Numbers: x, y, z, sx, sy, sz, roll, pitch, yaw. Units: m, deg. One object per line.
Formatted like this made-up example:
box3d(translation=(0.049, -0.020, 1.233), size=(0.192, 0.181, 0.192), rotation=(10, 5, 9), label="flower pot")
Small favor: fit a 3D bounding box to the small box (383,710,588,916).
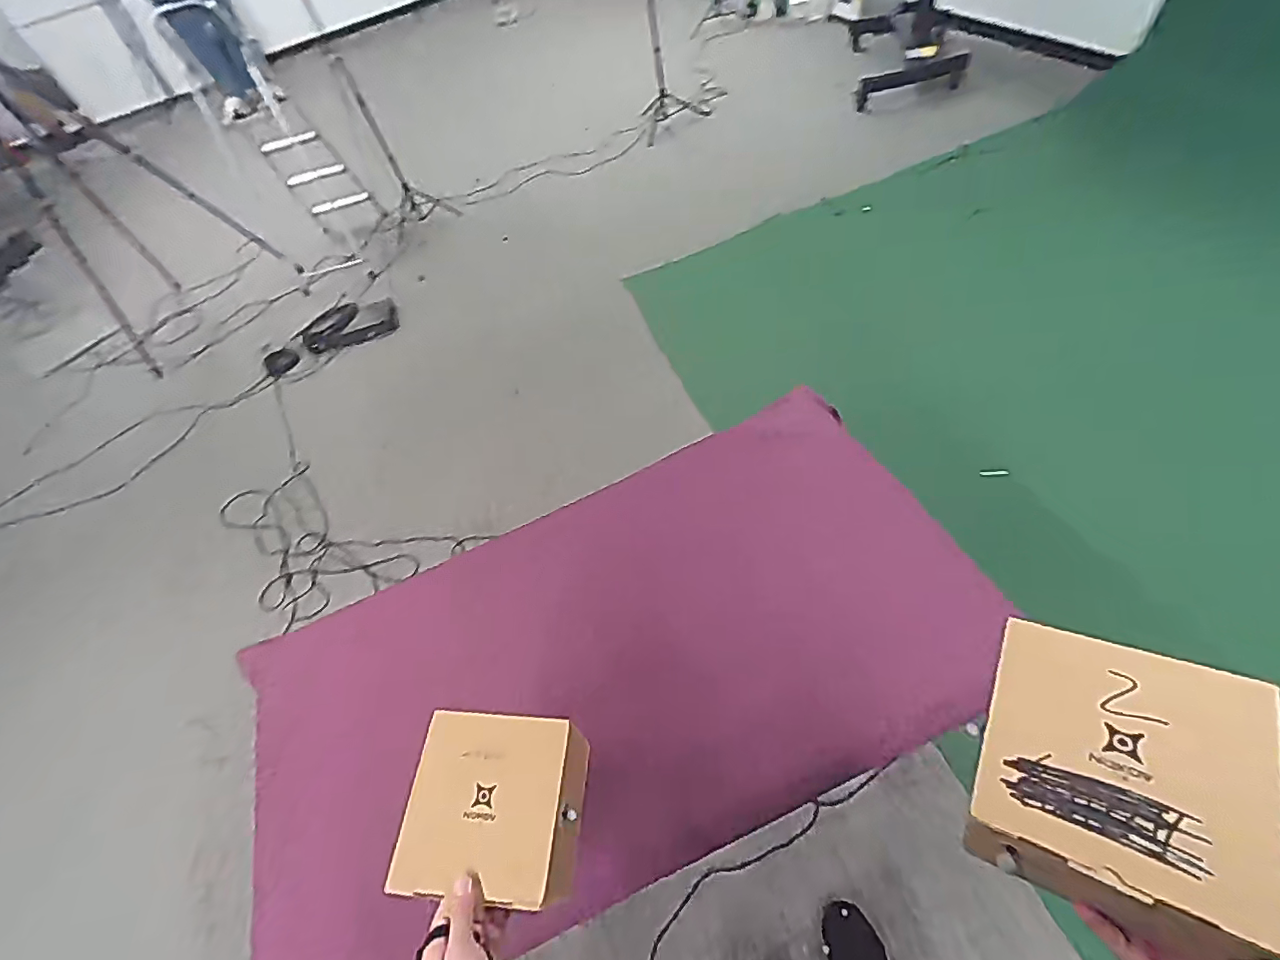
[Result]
box3d(translation=(-0.163, 0.393, 0.644), size=(0.168, 0.176, 0.179), rotation=(3, 54, 7), label="small box")
